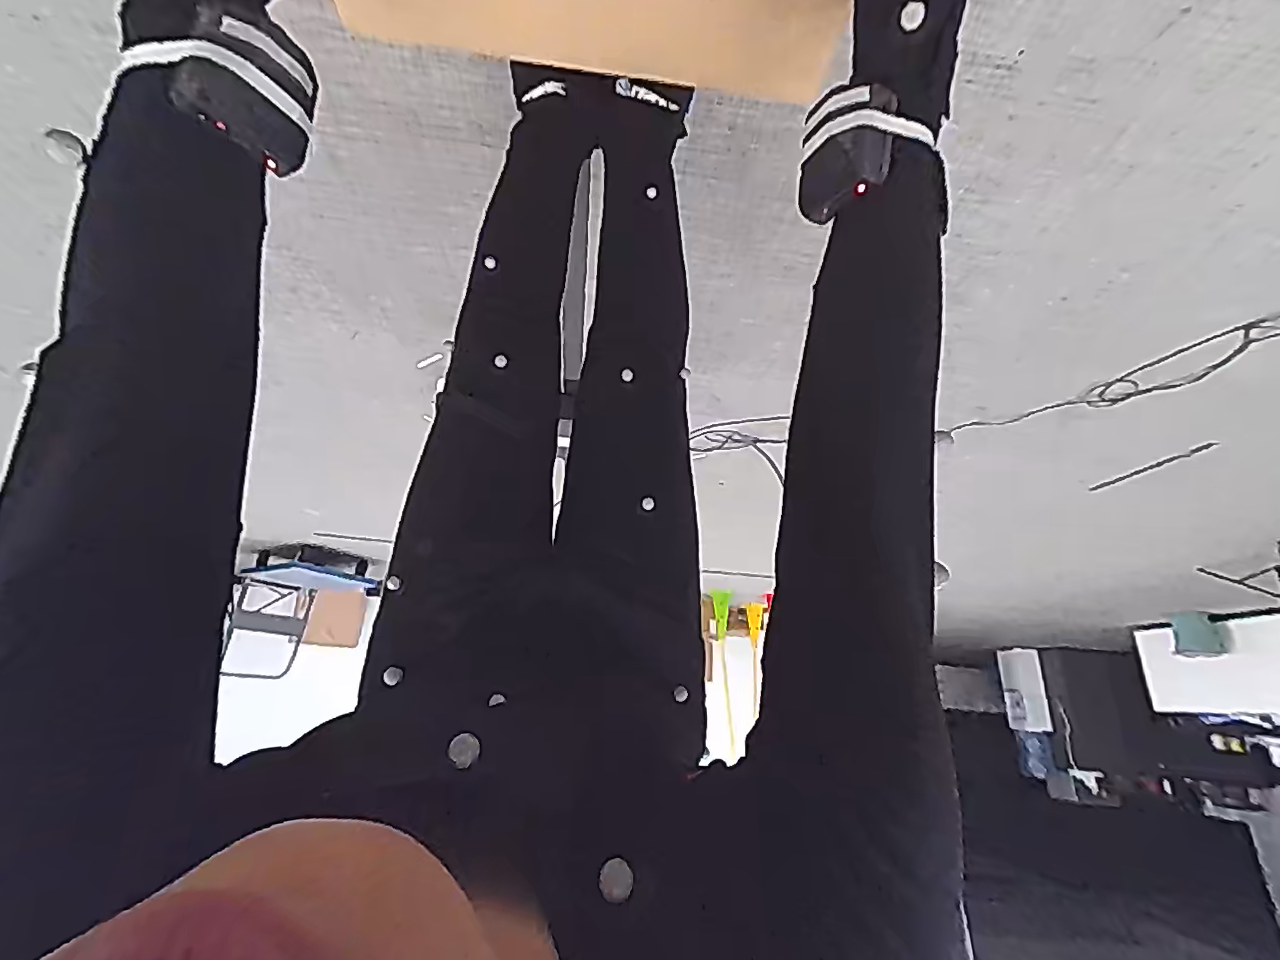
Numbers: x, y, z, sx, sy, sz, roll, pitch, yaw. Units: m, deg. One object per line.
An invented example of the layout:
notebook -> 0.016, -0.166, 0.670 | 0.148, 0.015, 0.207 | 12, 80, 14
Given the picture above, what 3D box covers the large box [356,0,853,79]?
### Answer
large box -> -0.017, -0.556, 0.369 | 0.408, 0.320, 0.320 | 5, 162, -4
